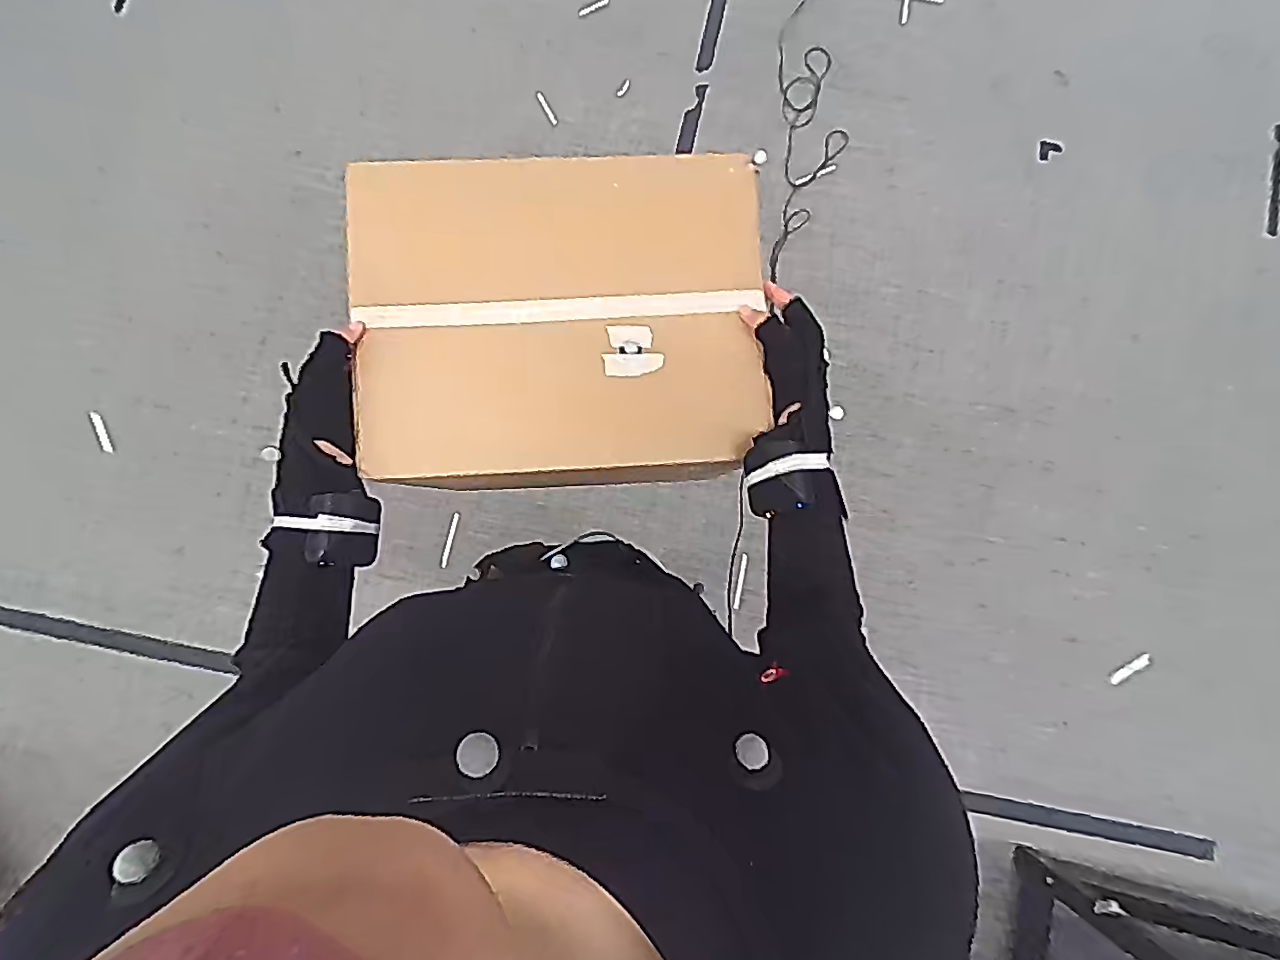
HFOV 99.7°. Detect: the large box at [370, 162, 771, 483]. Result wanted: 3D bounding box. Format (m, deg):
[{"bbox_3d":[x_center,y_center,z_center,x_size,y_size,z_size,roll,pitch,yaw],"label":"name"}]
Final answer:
[{"bbox_3d":[-0.079,-0.165,0.696,0.408,0.320,0.320,-2,88,-3],"label":"large box"}]
